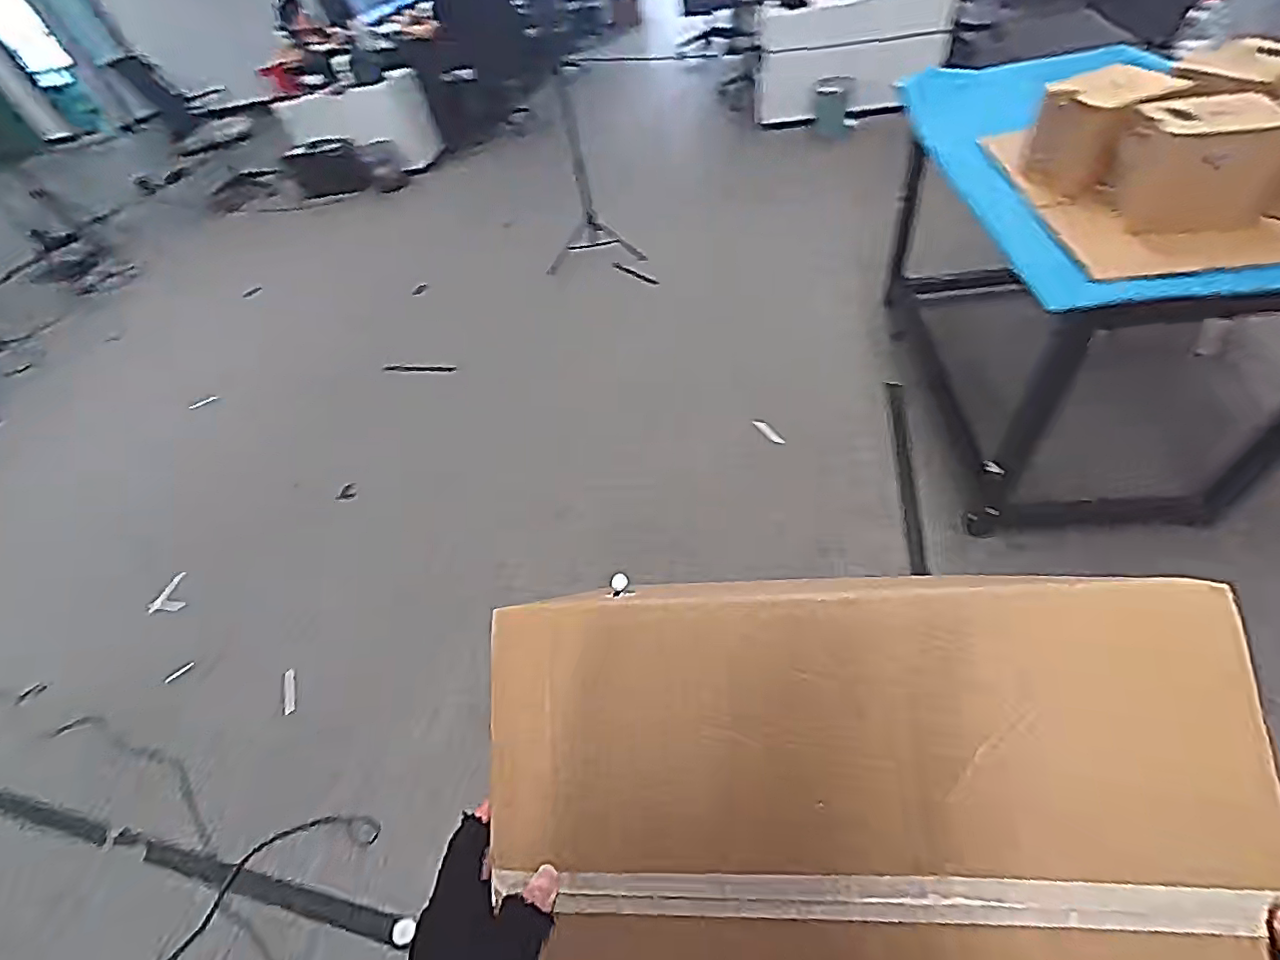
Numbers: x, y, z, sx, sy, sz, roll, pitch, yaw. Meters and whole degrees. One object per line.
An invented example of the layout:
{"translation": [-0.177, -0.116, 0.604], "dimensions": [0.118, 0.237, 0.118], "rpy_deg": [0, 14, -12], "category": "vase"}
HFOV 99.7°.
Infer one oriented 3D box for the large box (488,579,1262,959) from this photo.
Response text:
{"translation": [0.128, 0.251, 0.443], "dimensions": [0.408, 0.320, 0.320], "rpy_deg": [-5, 81, 7], "category": "large box"}
